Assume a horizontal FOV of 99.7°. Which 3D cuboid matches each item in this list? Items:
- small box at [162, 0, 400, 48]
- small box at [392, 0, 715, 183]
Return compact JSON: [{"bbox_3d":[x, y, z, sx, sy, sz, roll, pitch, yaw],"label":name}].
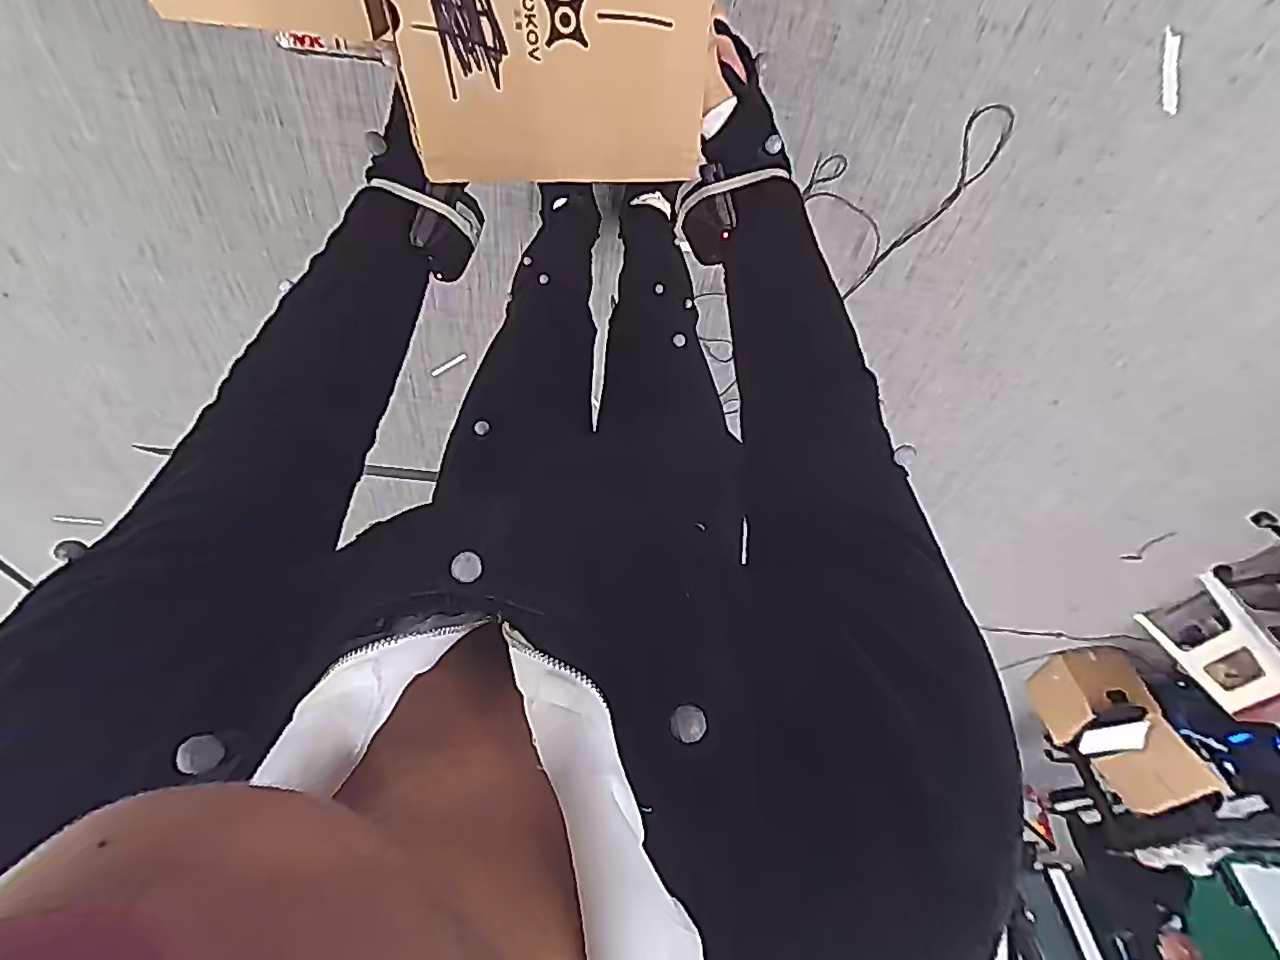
[{"bbox_3d":[-0.276,-0.469,0.415,0.168,0.176,0.179,5,141,-2],"label":"small box"},{"bbox_3d":[-0.049,-0.311,0.349,0.179,0.176,0.168,-2,139,-3],"label":"small box"}]
